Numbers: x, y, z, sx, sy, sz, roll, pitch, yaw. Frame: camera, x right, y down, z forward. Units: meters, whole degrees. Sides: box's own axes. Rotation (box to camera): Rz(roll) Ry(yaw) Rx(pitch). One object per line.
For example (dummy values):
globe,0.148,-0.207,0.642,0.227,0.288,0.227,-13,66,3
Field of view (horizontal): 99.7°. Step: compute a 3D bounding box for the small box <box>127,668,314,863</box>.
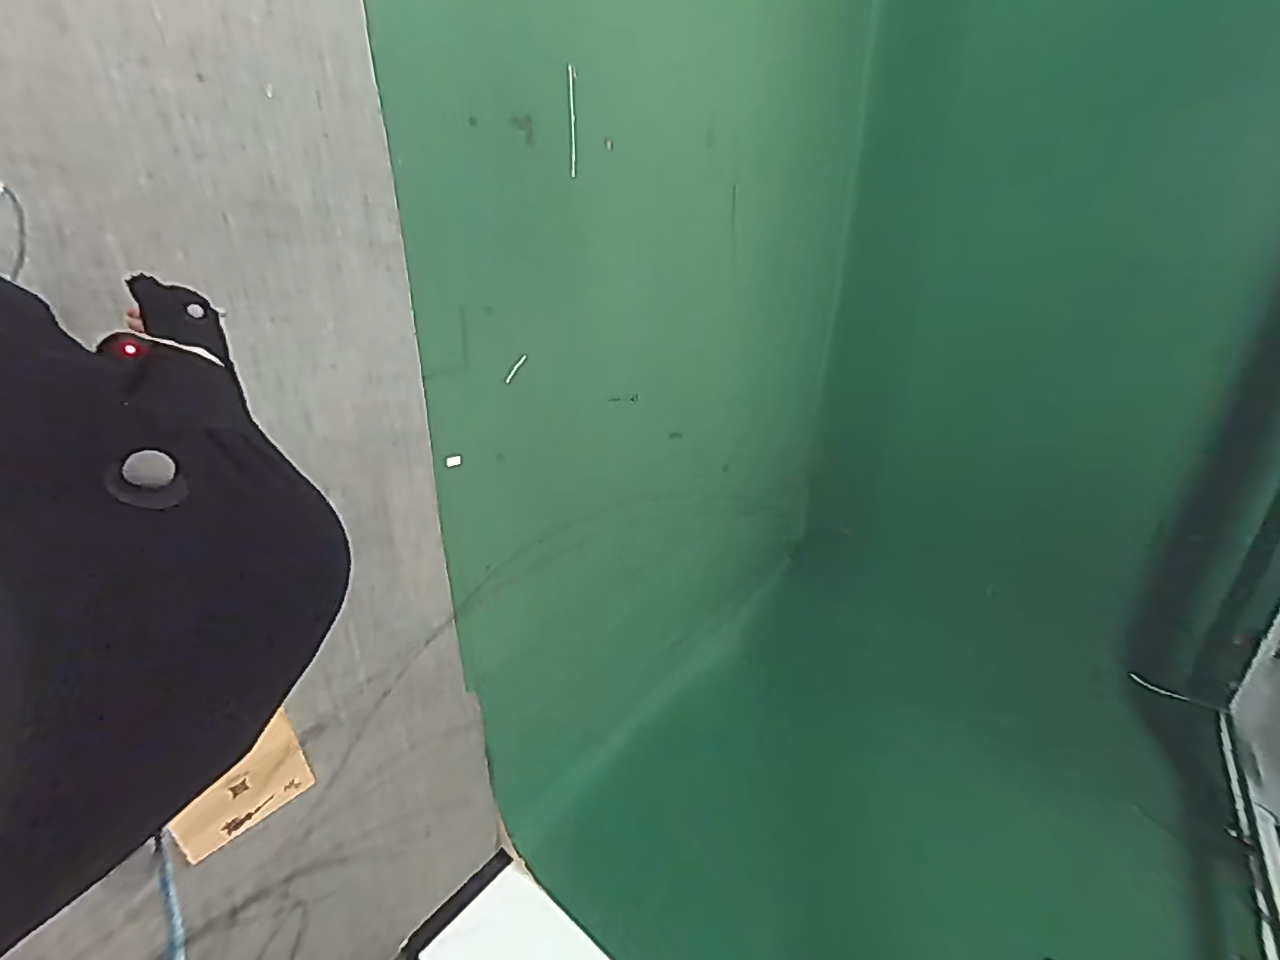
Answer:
small box,-0.639,0.417,0.827,0.168,0.176,0.179,-26,124,-42
